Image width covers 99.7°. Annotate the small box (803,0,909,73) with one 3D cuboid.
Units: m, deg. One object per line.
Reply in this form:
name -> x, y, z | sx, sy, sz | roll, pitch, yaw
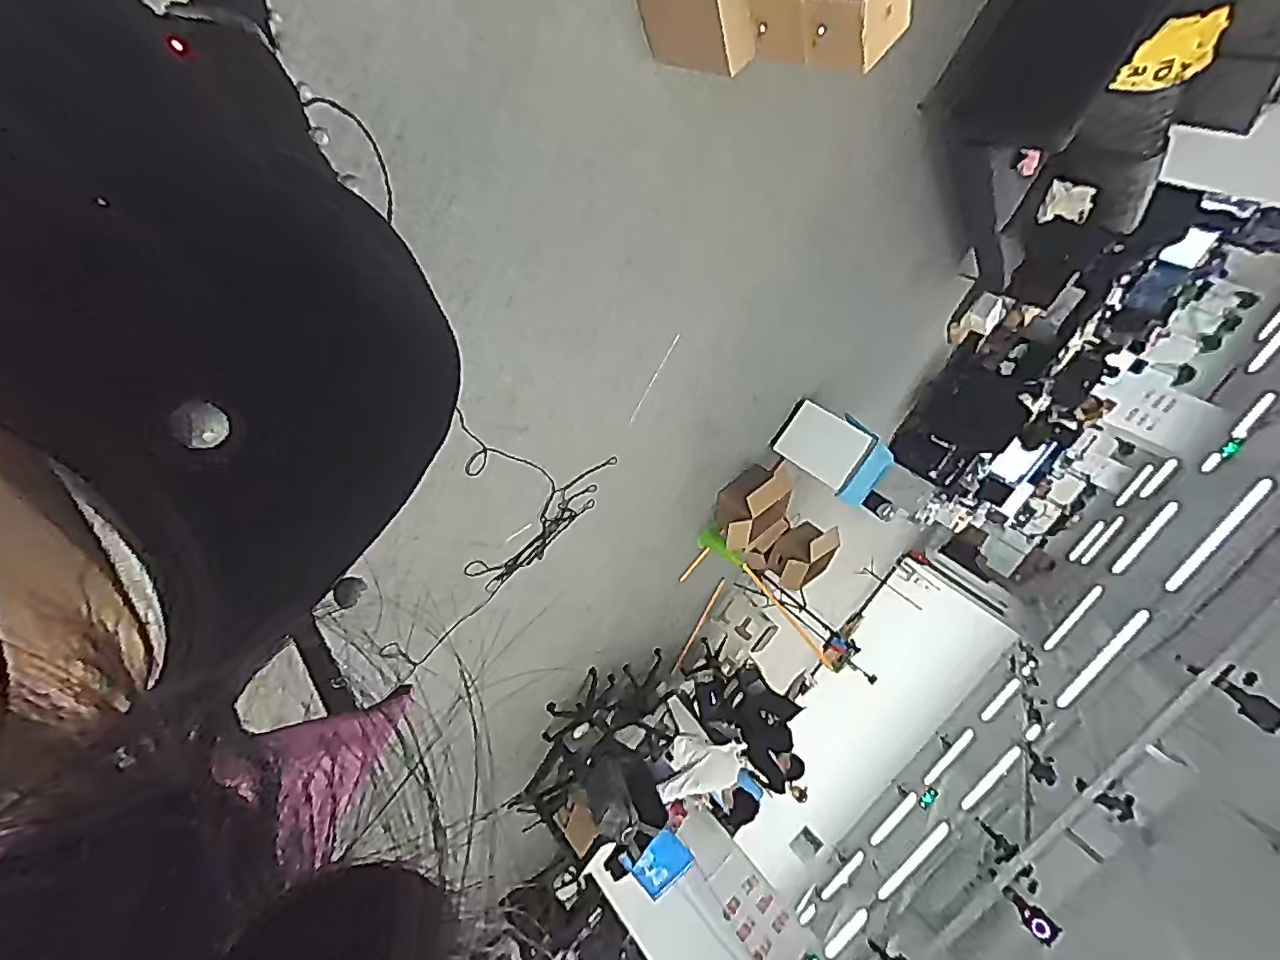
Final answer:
small box -> 0.514, -1.124, 1.286 | 0.179, 0.176, 0.168 | -49, 149, -2
